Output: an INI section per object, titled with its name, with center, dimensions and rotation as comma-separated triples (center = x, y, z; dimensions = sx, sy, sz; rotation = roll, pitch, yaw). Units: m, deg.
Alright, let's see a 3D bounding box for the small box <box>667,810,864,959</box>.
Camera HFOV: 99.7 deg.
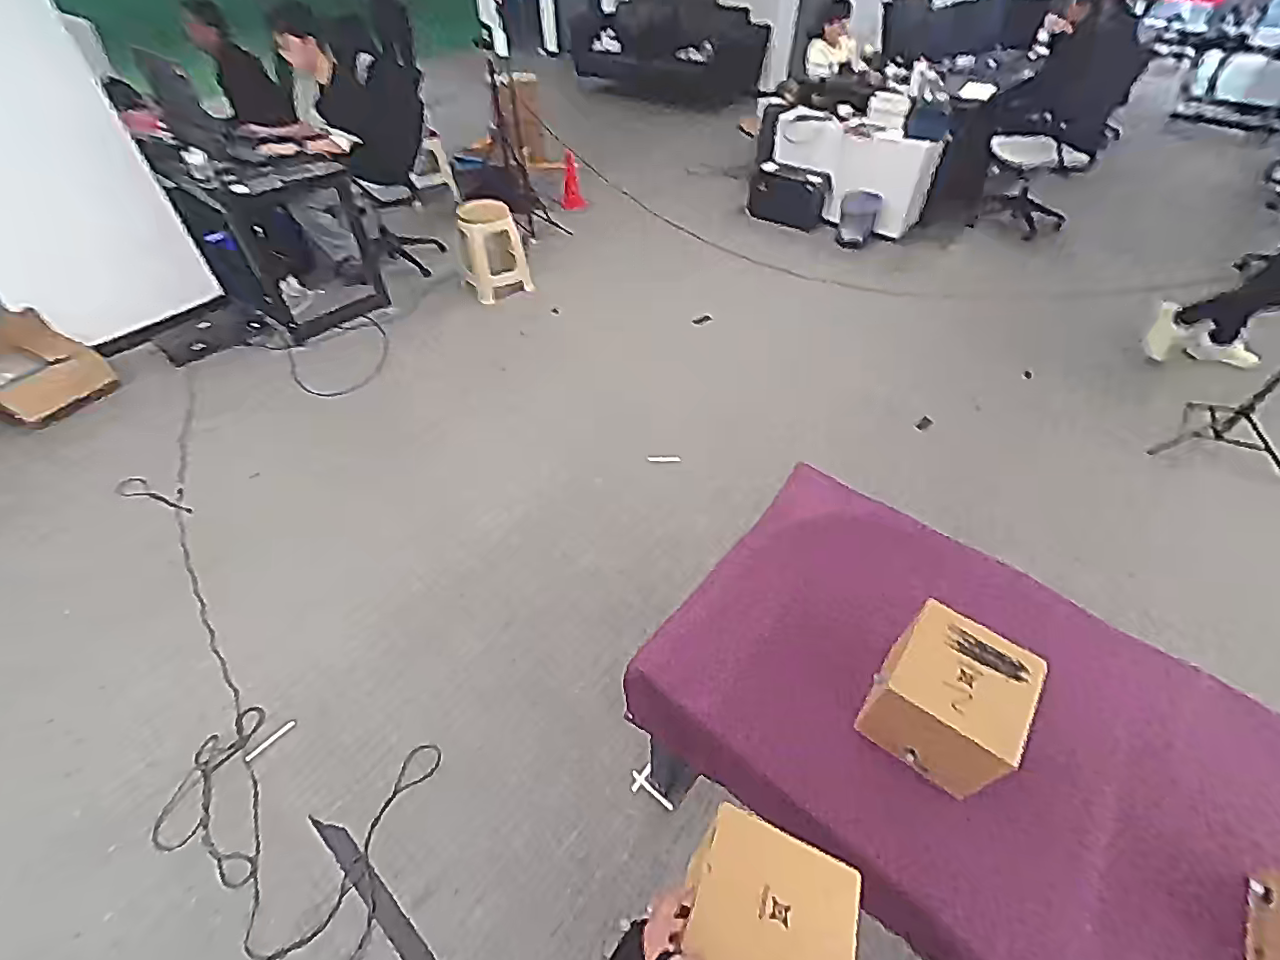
[small box]
center = 0.140, 0.540, 0.632
dimensions = 0.179, 0.176, 0.168
rotation = 19, 35, 15
